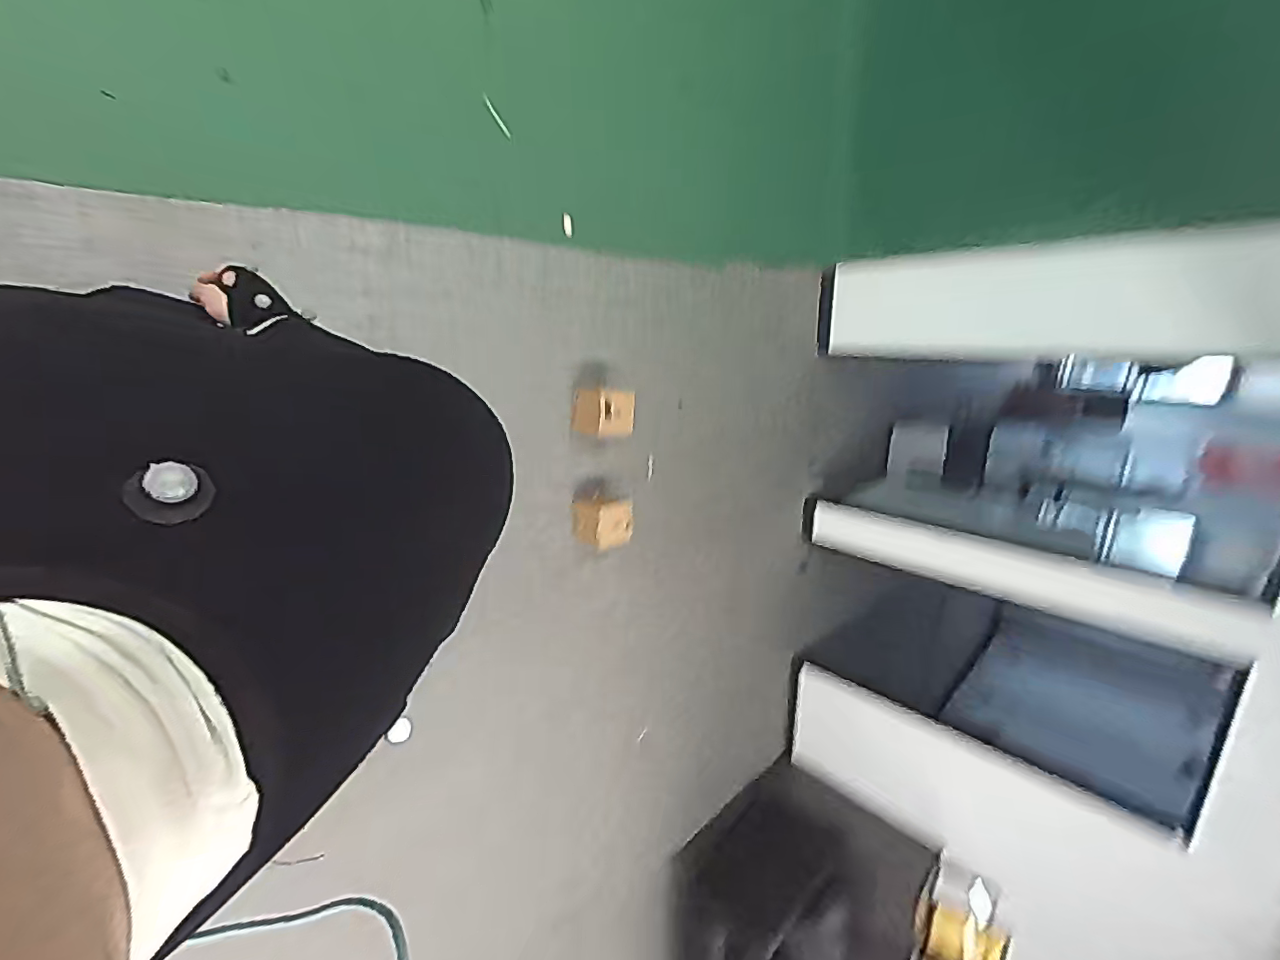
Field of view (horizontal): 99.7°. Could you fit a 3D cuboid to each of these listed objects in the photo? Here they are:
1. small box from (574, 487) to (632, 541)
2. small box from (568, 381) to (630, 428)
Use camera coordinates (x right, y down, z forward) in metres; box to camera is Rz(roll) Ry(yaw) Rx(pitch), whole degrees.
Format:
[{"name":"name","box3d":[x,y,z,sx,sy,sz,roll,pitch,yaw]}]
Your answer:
[{"name":"small box","box3d":[-0.152,0.134,2.184,0.179,0.176,0.168,-12,110,-42]},{"name":"small box","box3d":[-0.161,-0.291,2.082,0.179,0.176,0.168,-9,109,-45]}]
